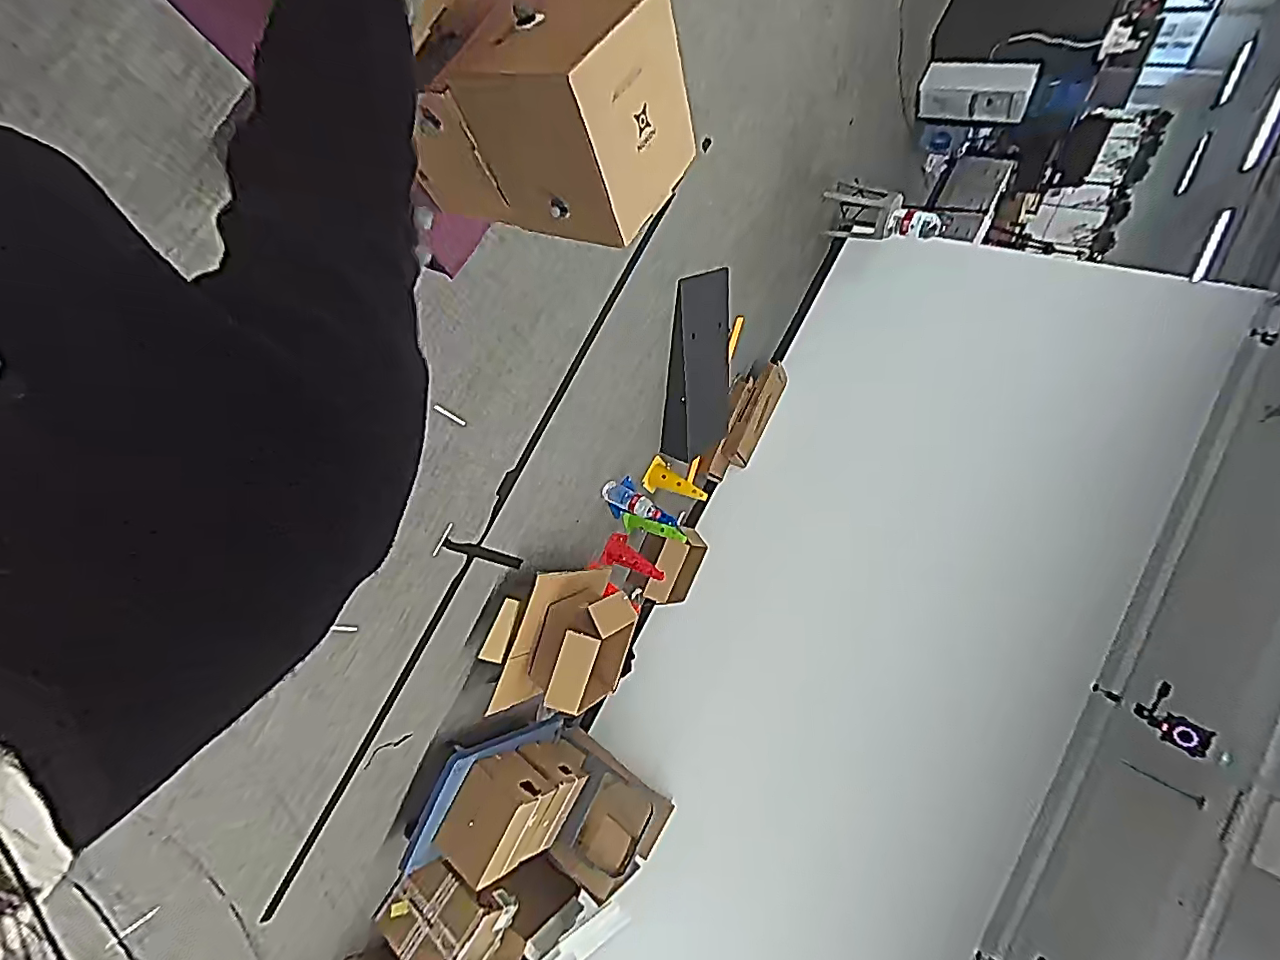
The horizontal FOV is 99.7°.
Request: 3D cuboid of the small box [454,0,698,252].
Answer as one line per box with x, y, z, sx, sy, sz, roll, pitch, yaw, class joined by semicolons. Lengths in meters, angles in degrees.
-0.061;-0.387;0.593;0.168;0.176;0.179;-57;150;-18;small box
